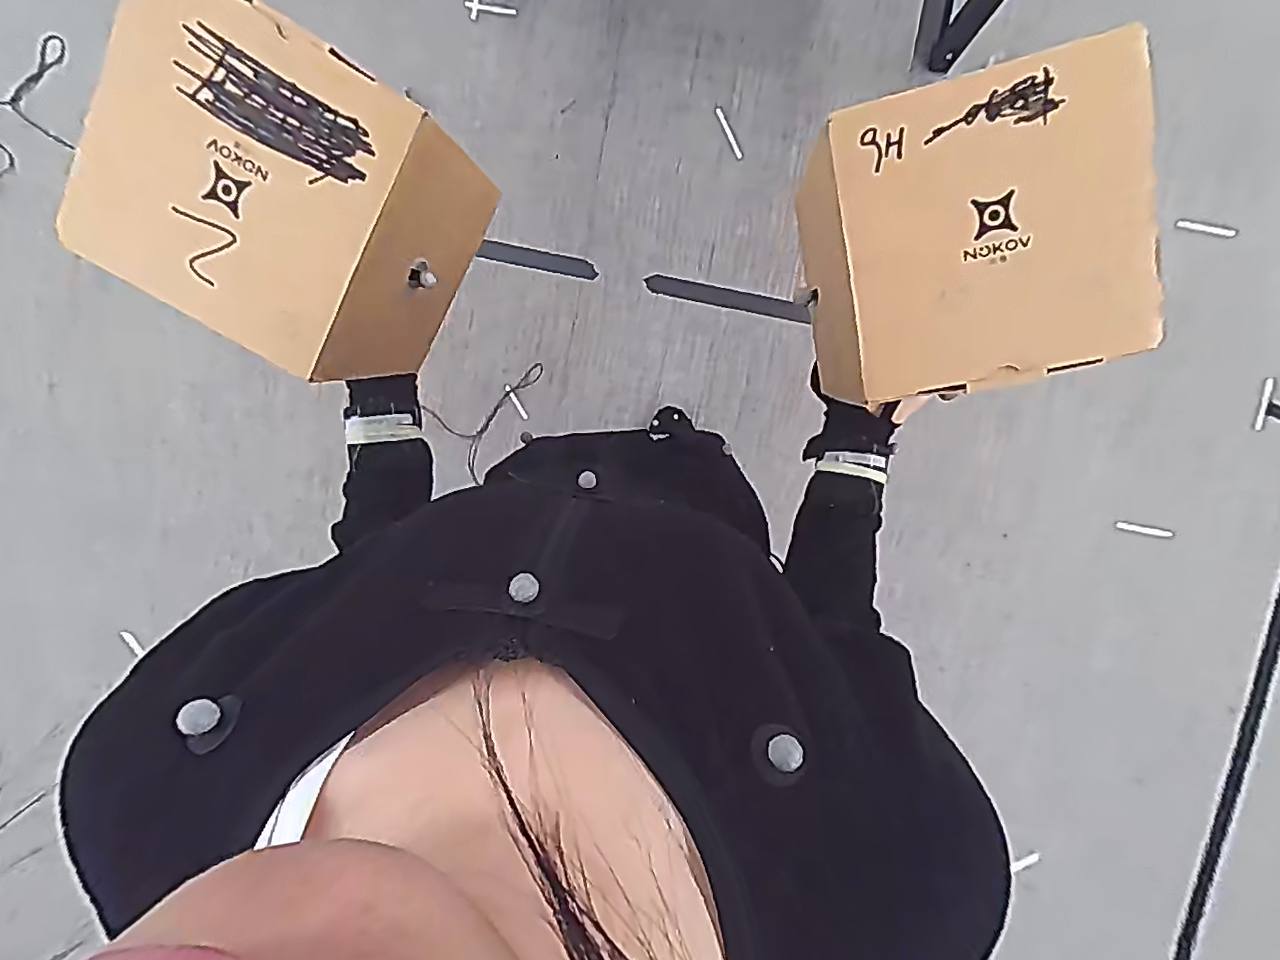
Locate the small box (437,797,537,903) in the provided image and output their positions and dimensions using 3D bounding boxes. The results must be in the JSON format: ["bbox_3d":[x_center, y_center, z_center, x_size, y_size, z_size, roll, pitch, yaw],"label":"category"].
[{"bbox_3d":[-0.341,0.833,1.175,0.179,0.176,0.168,19,94,0],"label":"small box"}]

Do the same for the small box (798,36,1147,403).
[{"bbox_3d":[0.220,-0.163,0.400,0.168,0.176,0.179,-10,101,10],"label":"small box"}]
